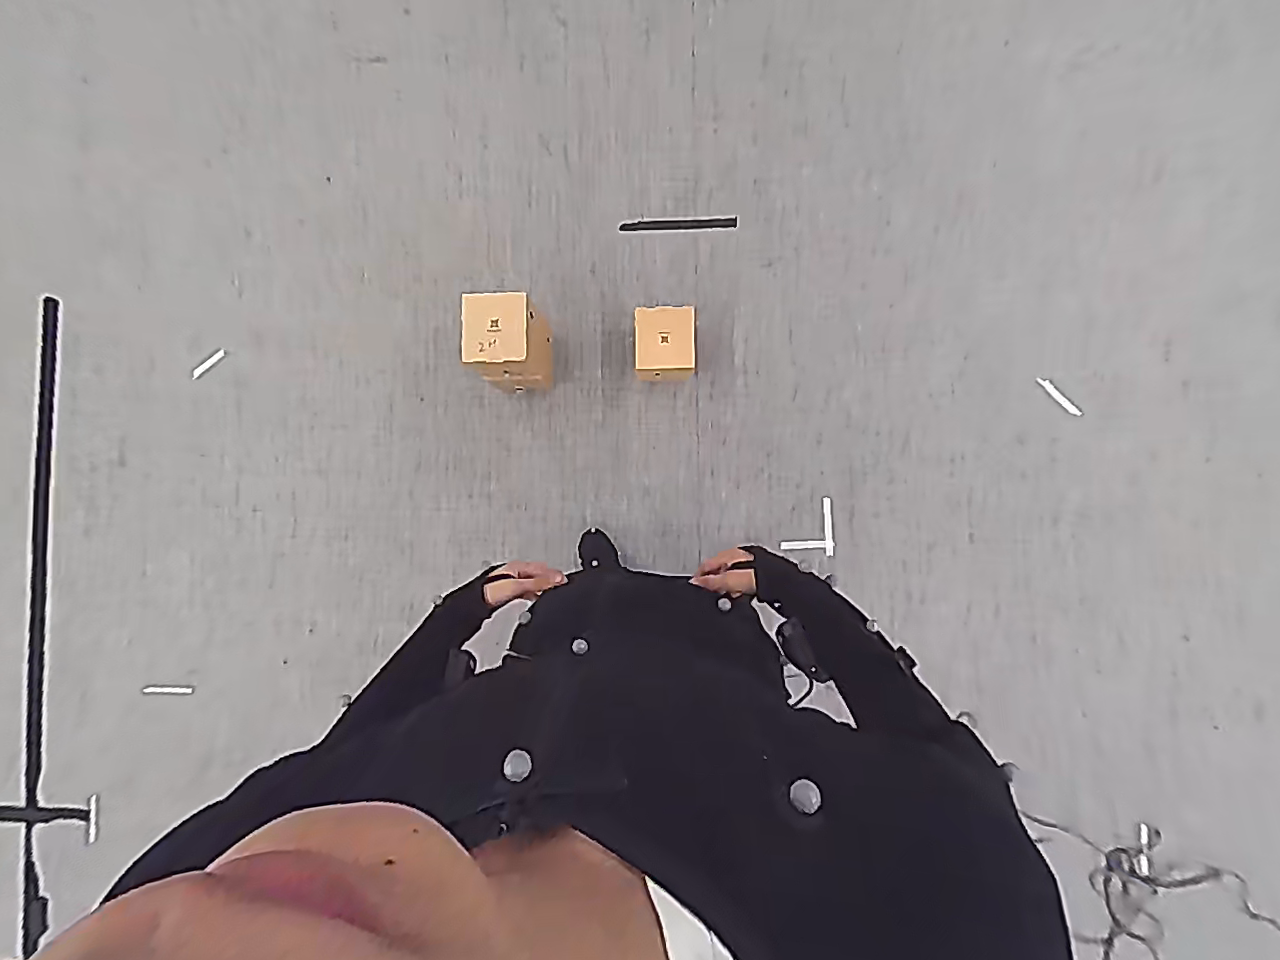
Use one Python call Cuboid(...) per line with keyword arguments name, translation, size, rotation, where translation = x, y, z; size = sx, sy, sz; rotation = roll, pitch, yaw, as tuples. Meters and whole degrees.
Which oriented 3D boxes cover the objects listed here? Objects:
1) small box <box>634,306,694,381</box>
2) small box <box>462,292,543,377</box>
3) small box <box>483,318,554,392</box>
Cuboid(name="small box", translation=(0.071, -0.387, 1.563), size=(0.168, 0.176, 0.179), rotation=(-1, 87, 2))
Cuboid(name="small box", translation=(-0.354, -0.373, 1.410), size=(0.168, 0.176, 0.179), rotation=(-1, 89, 3))
Cuboid(name="small box", translation=(-0.348, -0.359, 1.573), size=(0.168, 0.176, 0.179), rotation=(0, 88, 3))
